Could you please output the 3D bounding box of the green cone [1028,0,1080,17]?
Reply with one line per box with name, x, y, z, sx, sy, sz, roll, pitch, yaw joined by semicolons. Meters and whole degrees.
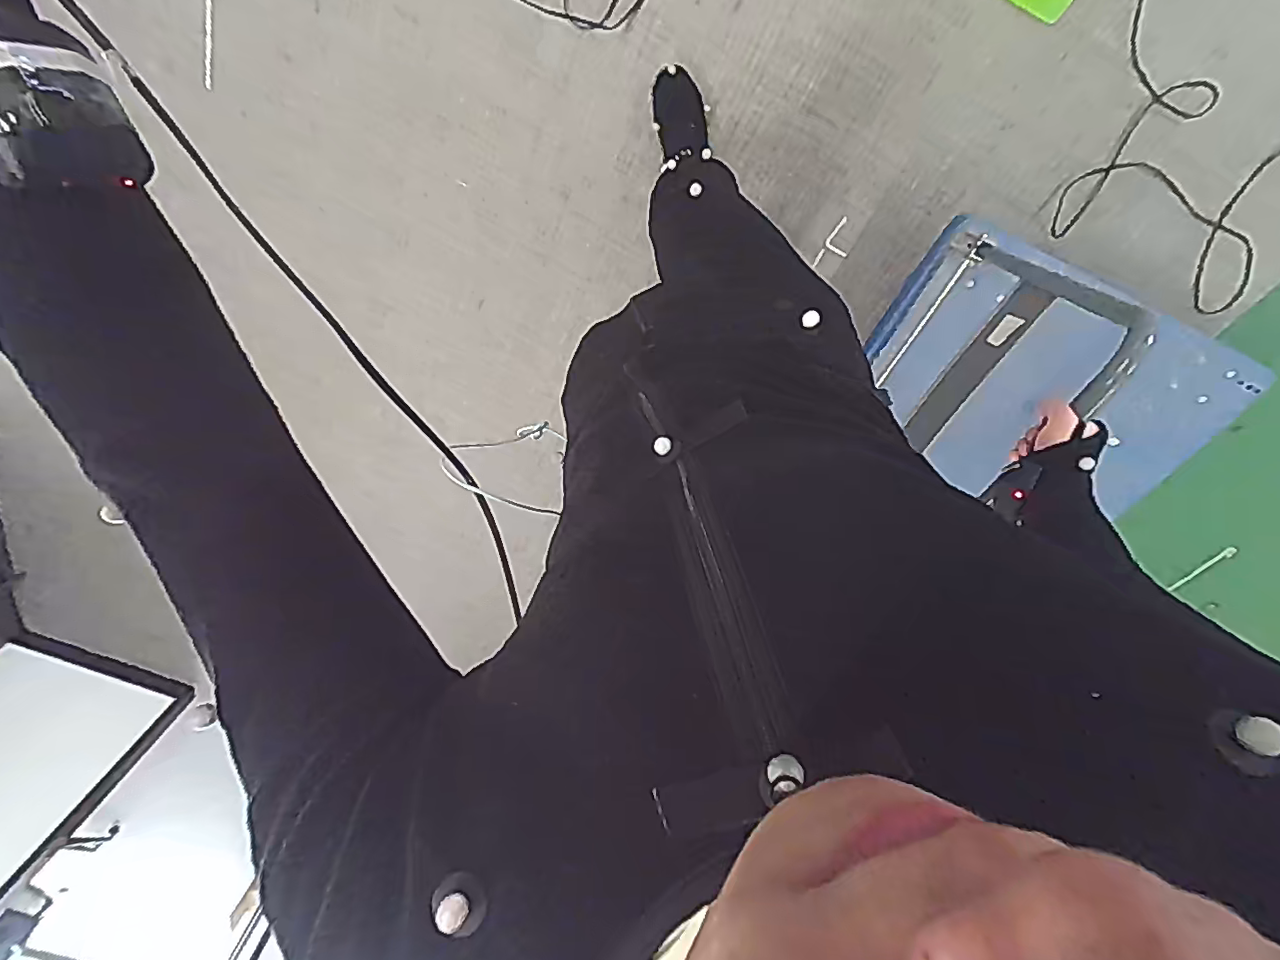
green cone;0.771;-0.929;0.859;0.200;0.368;0.202;22;121;-7
